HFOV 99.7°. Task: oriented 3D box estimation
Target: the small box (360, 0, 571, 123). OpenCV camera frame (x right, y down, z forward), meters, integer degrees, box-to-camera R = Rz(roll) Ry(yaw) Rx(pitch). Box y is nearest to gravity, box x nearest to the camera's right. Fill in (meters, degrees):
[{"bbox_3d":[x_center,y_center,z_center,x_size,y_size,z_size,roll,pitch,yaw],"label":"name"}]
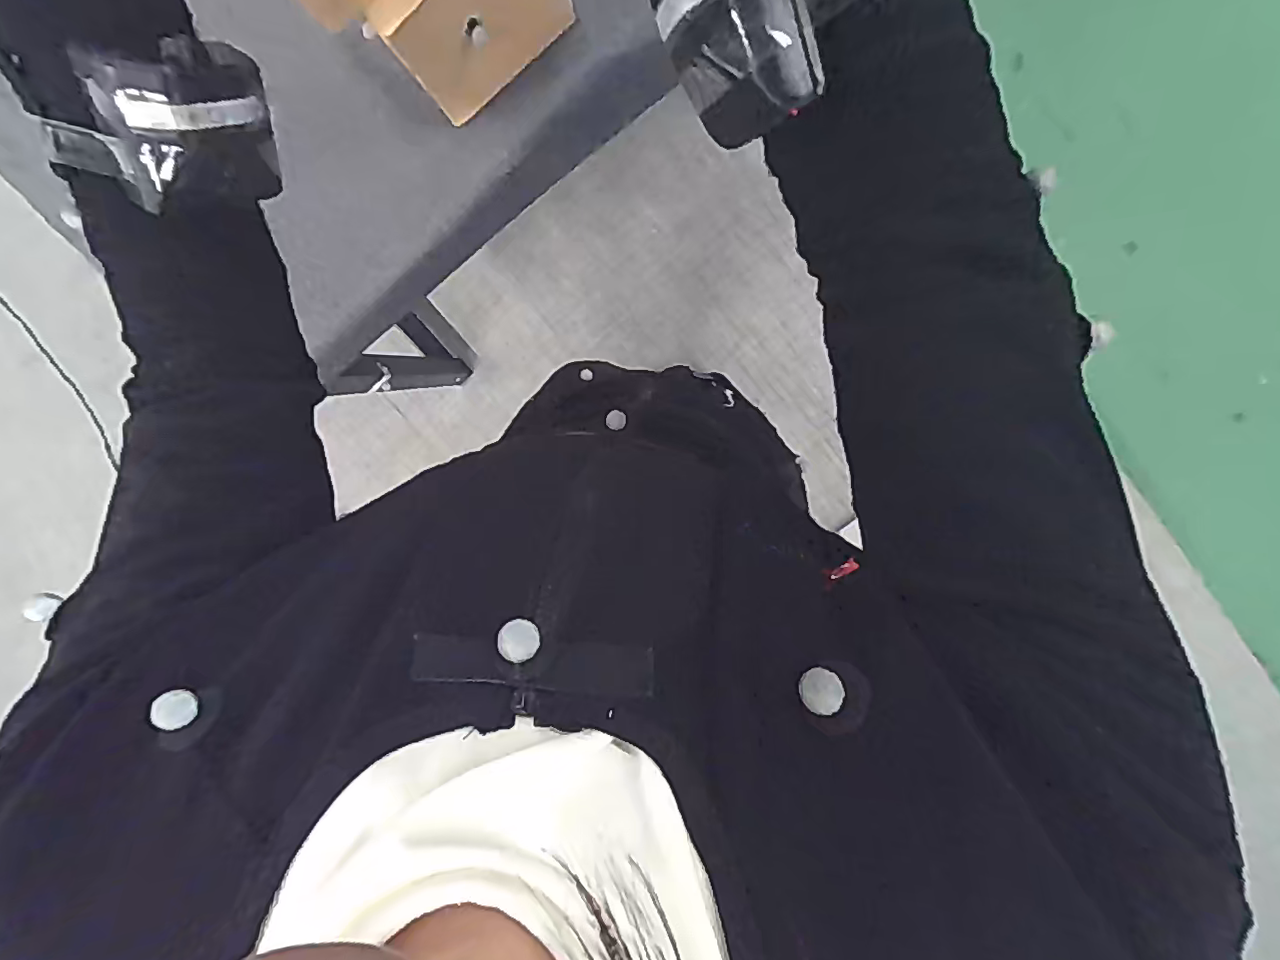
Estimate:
[{"bbox_3d":[-0.191,-0.496,0.518,0.179,0.176,0.168,-36,96,11],"label":"small box"}]
